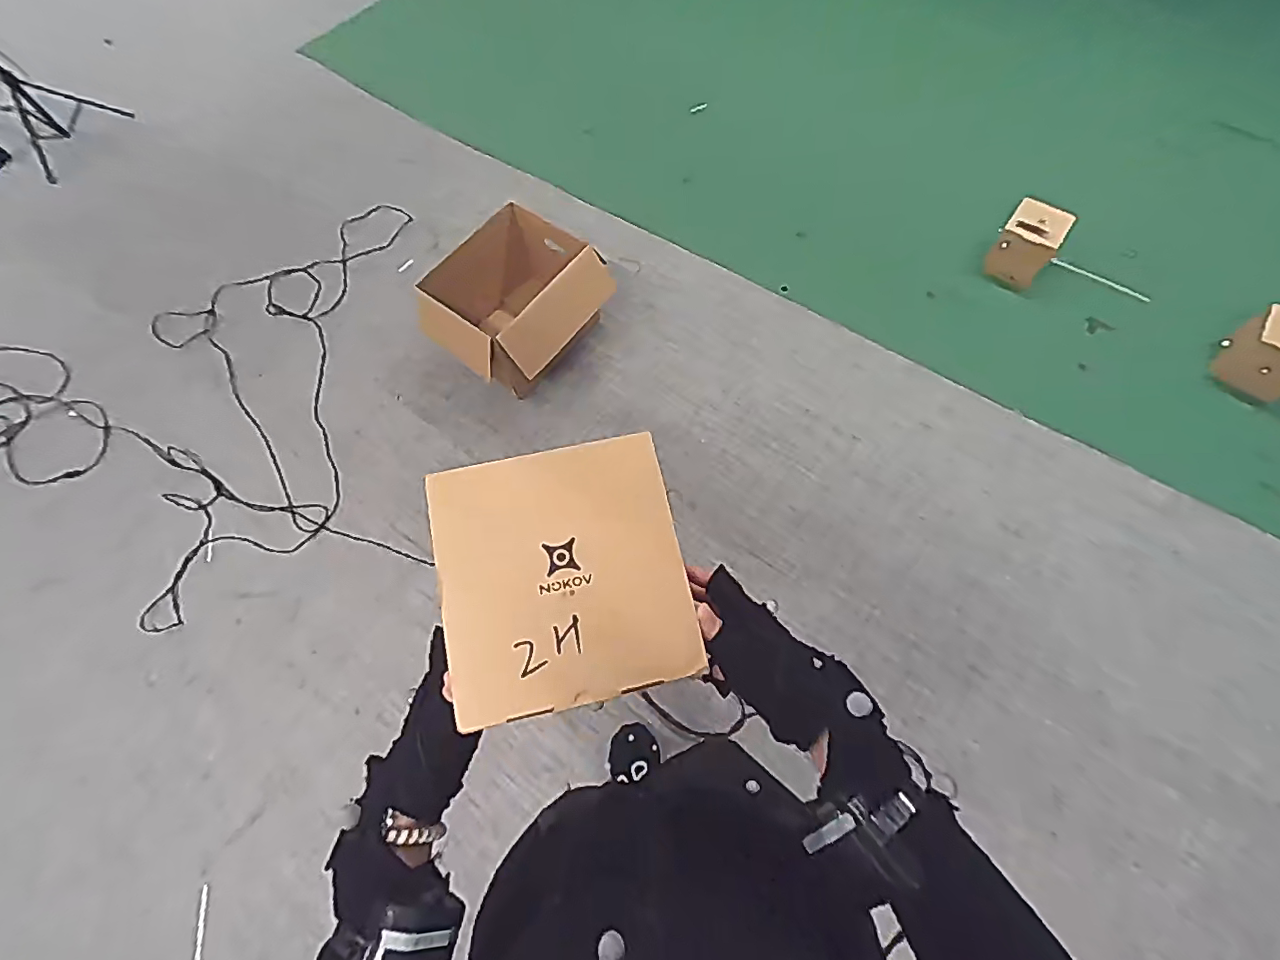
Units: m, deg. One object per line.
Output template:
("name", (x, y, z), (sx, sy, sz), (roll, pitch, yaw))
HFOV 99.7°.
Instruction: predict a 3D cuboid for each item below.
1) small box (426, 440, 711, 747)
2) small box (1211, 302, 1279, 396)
("small box", (-0.055, 0.089, 0.431), (0.168, 0.176, 0.179), (-11, 75, -6))
("small box", (1.834, -0.369, 1.557), (0.179, 0.176, 0.168), (34, 71, 16))
